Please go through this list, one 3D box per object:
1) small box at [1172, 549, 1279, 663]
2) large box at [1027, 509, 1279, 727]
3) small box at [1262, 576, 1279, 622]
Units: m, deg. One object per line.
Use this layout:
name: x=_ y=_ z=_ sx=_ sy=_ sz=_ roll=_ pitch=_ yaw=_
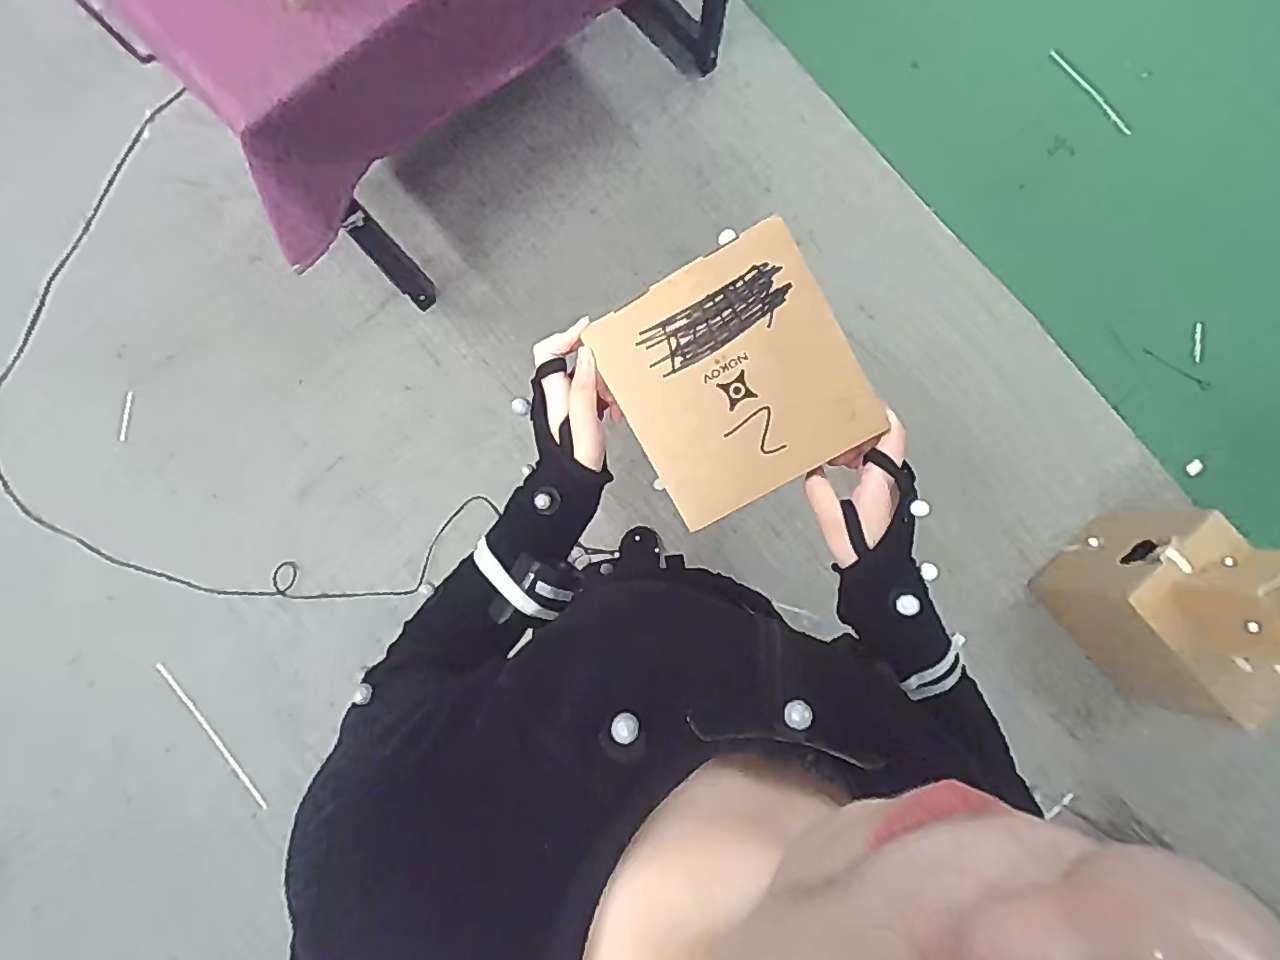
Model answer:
small box: x=1.307 y=0.257 z=1.139 sx=0.168 sy=0.176 sz=0.179 roll=-29 pitch=86 yaw=-5
large box: x=1.328 y=0.323 z=1.377 sx=0.320 sy=0.320 sz=0.408 roll=-40 pitch=88 yaw=-5
small box: x=1.323 y=0.246 z=0.977 sx=0.168 sy=0.176 sz=0.179 roll=-26 pitch=85 yaw=-5
